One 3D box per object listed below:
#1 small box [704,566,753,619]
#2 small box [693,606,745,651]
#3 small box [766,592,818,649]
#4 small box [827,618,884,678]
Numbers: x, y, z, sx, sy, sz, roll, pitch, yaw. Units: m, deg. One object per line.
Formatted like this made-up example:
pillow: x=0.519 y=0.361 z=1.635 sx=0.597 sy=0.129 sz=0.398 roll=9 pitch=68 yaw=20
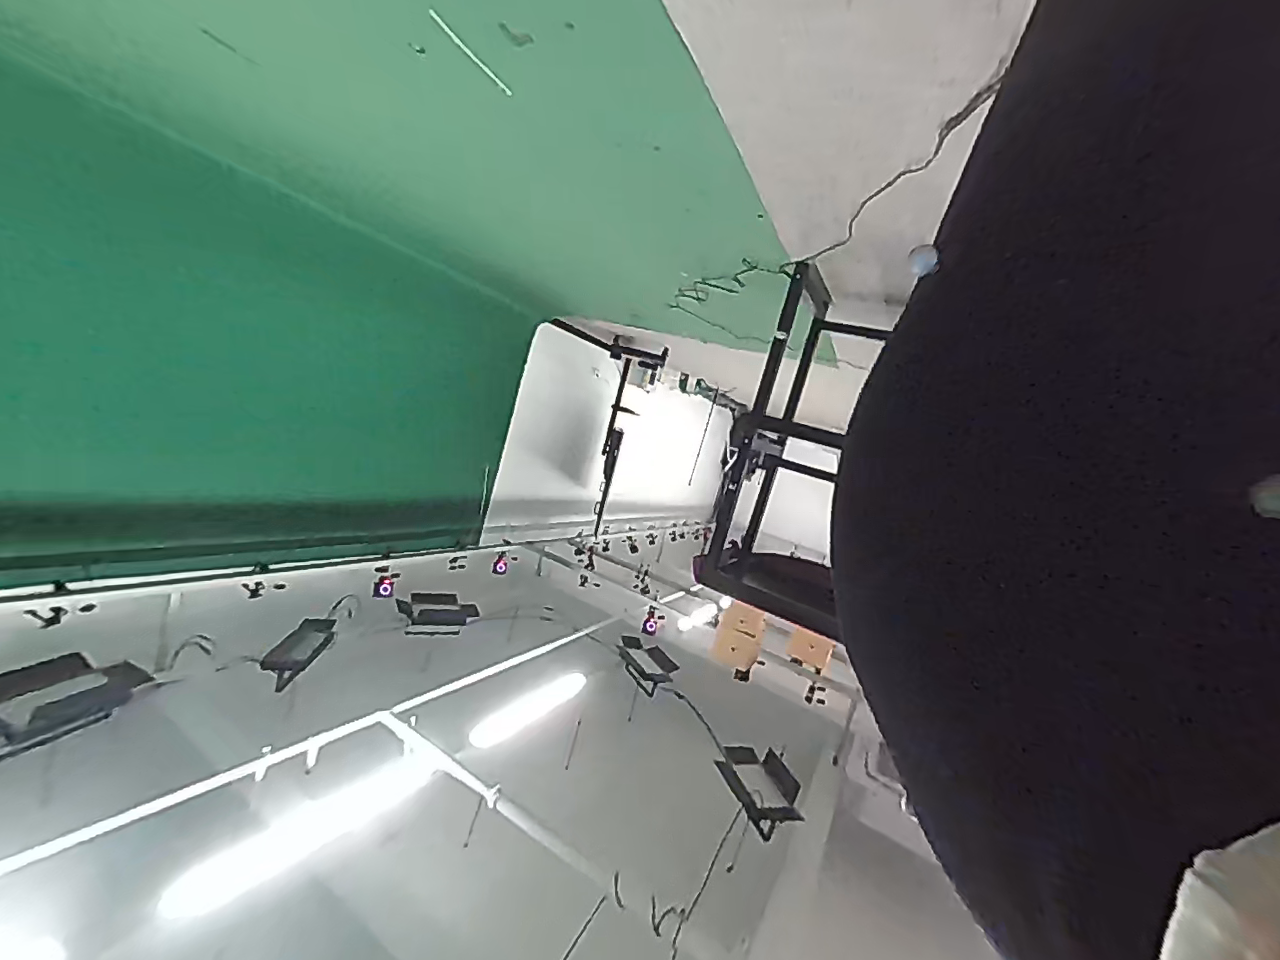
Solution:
small box: x=0.421 y=0.523 z=2.539 sx=0.179 sy=0.176 sz=0.168 roll=19 pitch=-172 yaw=22
small box: x=0.378 y=0.680 z=2.559 sx=0.179 sy=0.176 sz=0.168 roll=18 pitch=-172 yaw=28
small box: x=0.678 y=0.619 z=2.396 sx=0.179 sy=0.176 sz=0.168 roll=19 pitch=-172 yaw=24
small box: x=0.912 y=0.701 z=2.283 sx=0.168 sy=0.176 sz=0.179 roll=21 pitch=-170 yaw=30
